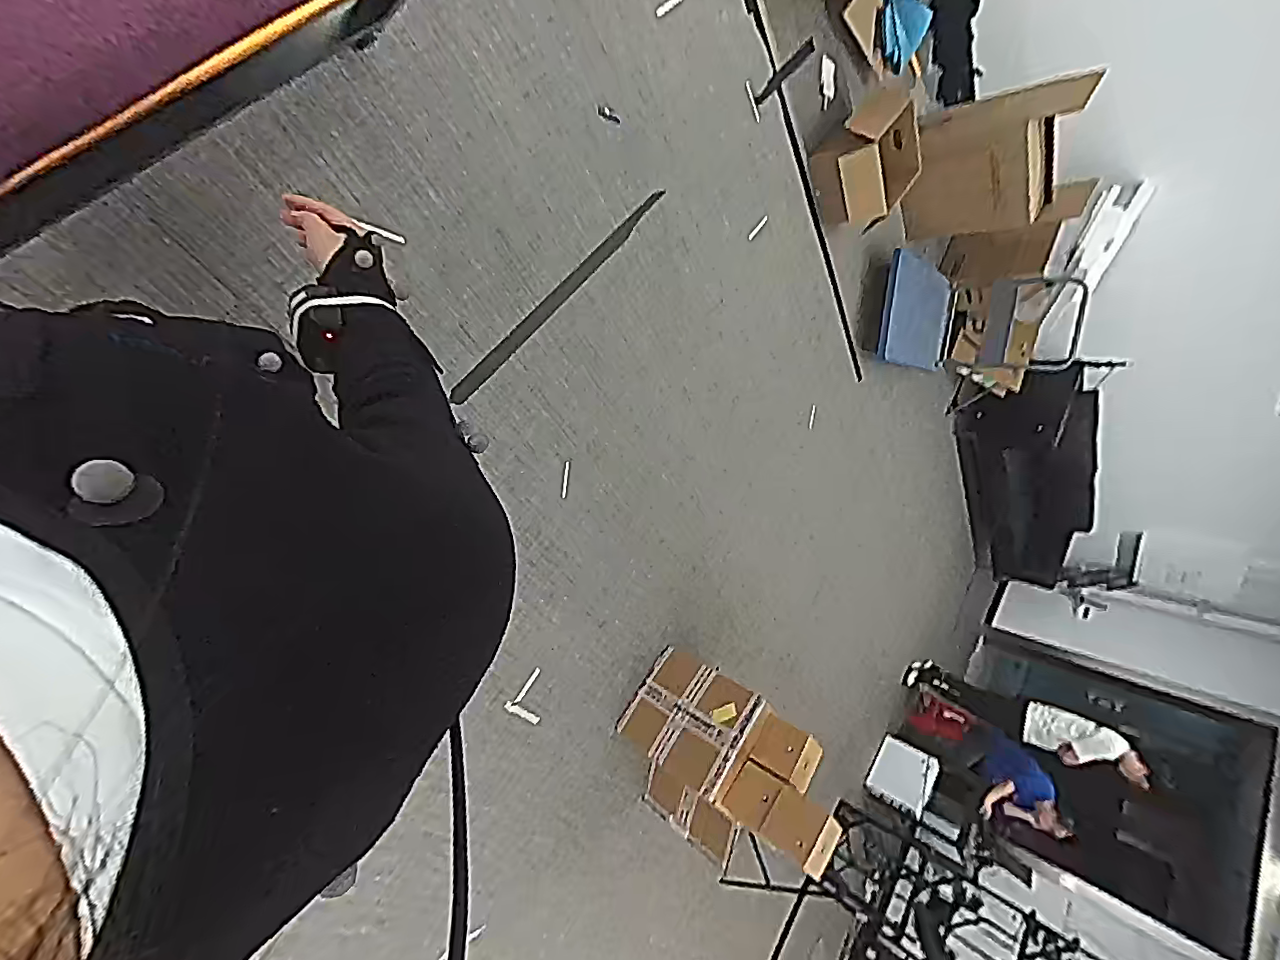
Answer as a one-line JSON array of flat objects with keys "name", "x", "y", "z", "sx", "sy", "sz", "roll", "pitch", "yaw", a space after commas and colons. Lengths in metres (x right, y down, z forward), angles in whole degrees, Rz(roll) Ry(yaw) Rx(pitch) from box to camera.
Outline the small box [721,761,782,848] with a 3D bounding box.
[{"name": "small box", "x": 0.410, "y": 1.125, "z": 1.885, "sx": 0.179, "sy": 0.176, "sz": 0.168, "roll": -47, "pitch": 127, "yaw": -24}]

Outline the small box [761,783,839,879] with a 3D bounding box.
[{"name": "small box", "x": 0.511, "y": 1.134, "z": 1.753, "sx": 0.179, "sy": 0.176, "sz": 0.168, "roll": -50, "pitch": 129, "yaw": -22}]
